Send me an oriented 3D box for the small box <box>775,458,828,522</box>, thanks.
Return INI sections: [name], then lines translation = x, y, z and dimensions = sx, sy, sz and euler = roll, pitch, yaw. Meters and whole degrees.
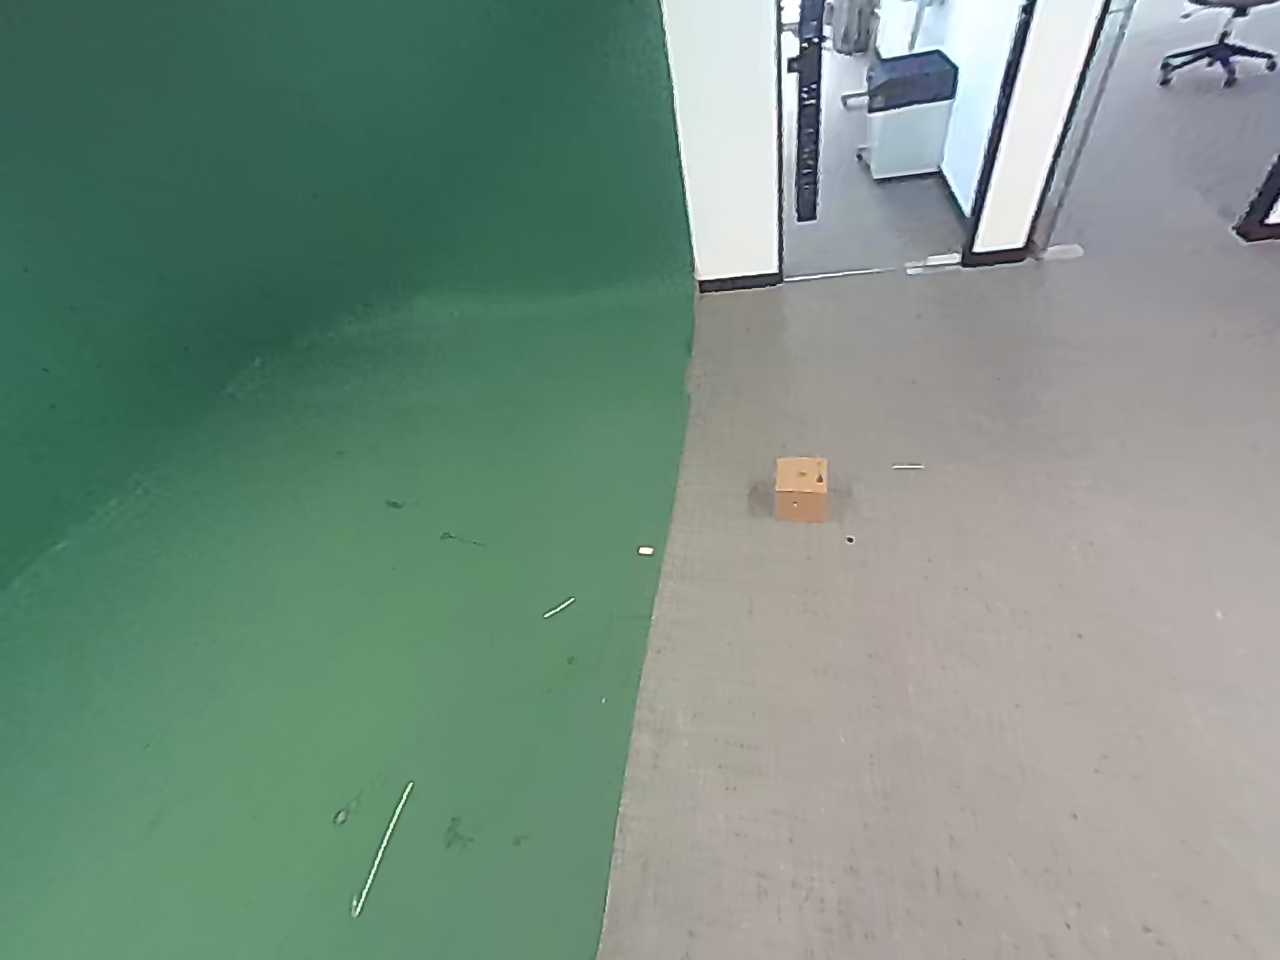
[small box]
translation = 0.584, 0.038, 1.951
dimensions = 0.179, 0.176, 0.168
euler = 2, 48, 18
